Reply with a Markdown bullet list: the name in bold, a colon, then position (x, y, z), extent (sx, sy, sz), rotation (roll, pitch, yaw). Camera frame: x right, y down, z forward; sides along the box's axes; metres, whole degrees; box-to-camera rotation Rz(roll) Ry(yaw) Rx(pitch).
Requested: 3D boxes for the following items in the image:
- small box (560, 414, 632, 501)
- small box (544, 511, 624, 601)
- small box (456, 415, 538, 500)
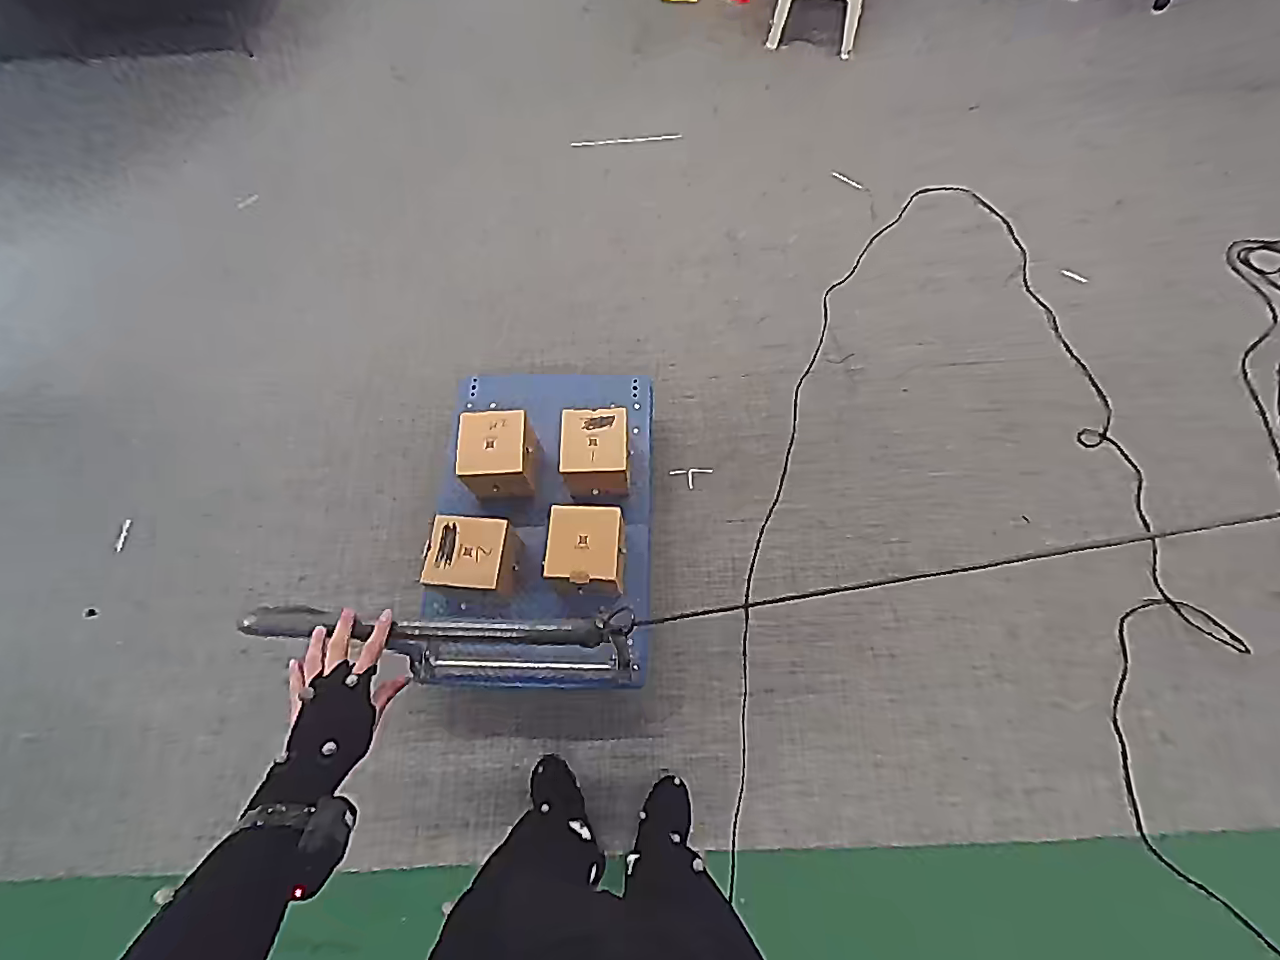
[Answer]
- **small box**: position (-0.109, -0.056, 1.405), extent (0.168, 0.176, 0.179), rotation (-1, 68, 2)
- **small box**: position (-0.127, 0.186, 1.306), extent (0.168, 0.176, 0.179), rotation (2, 68, 3)
- **small box**: position (-0.366, -0.051, 1.412), extent (0.168, 0.176, 0.179), rotation (-2, 68, 0)
